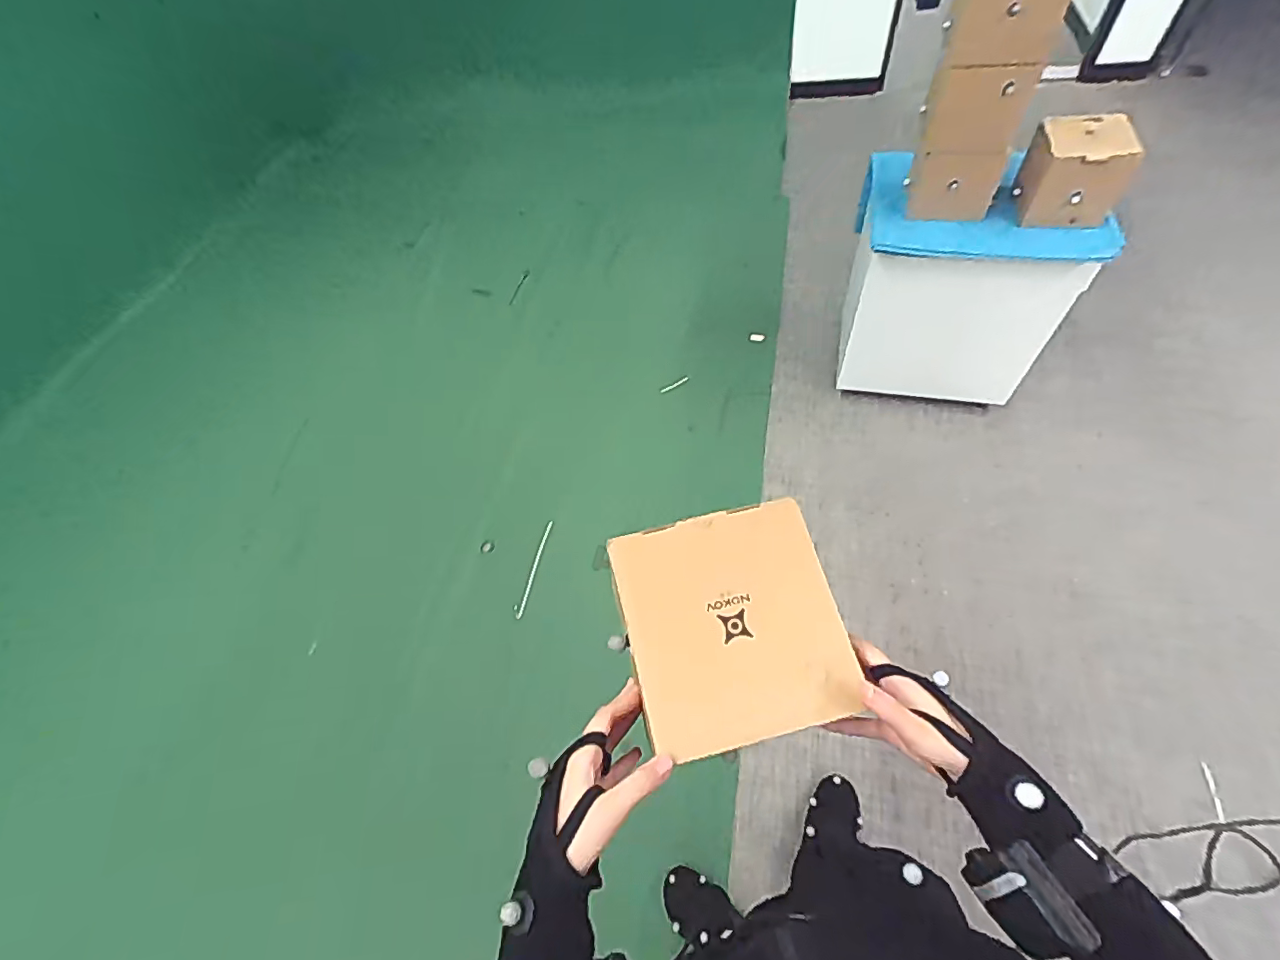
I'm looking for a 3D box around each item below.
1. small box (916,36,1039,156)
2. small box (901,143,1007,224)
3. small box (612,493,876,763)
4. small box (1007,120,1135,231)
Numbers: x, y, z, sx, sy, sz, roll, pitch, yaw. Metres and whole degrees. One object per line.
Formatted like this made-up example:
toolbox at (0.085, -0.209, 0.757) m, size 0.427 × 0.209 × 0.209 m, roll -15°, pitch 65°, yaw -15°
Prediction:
small box at (0.727, -0.836, 1.185) m, size 0.179 × 0.176 × 0.168 m, roll 7°, pitch 58°, yaw 13°
small box at (0.756, -0.746, 1.319) m, size 0.179 × 0.176 × 0.168 m, roll 6°, pitch 58°, yaw 13°
small box at (0.075, 0.135, 0.489) m, size 0.168 × 0.176 × 0.179 m, roll -13°, pitch 67°, yaw -6°
small box at (0.987, -0.702, 1.256) m, size 0.168 × 0.176 × 0.179 m, roll 7°, pitch 59°, yaw 13°
